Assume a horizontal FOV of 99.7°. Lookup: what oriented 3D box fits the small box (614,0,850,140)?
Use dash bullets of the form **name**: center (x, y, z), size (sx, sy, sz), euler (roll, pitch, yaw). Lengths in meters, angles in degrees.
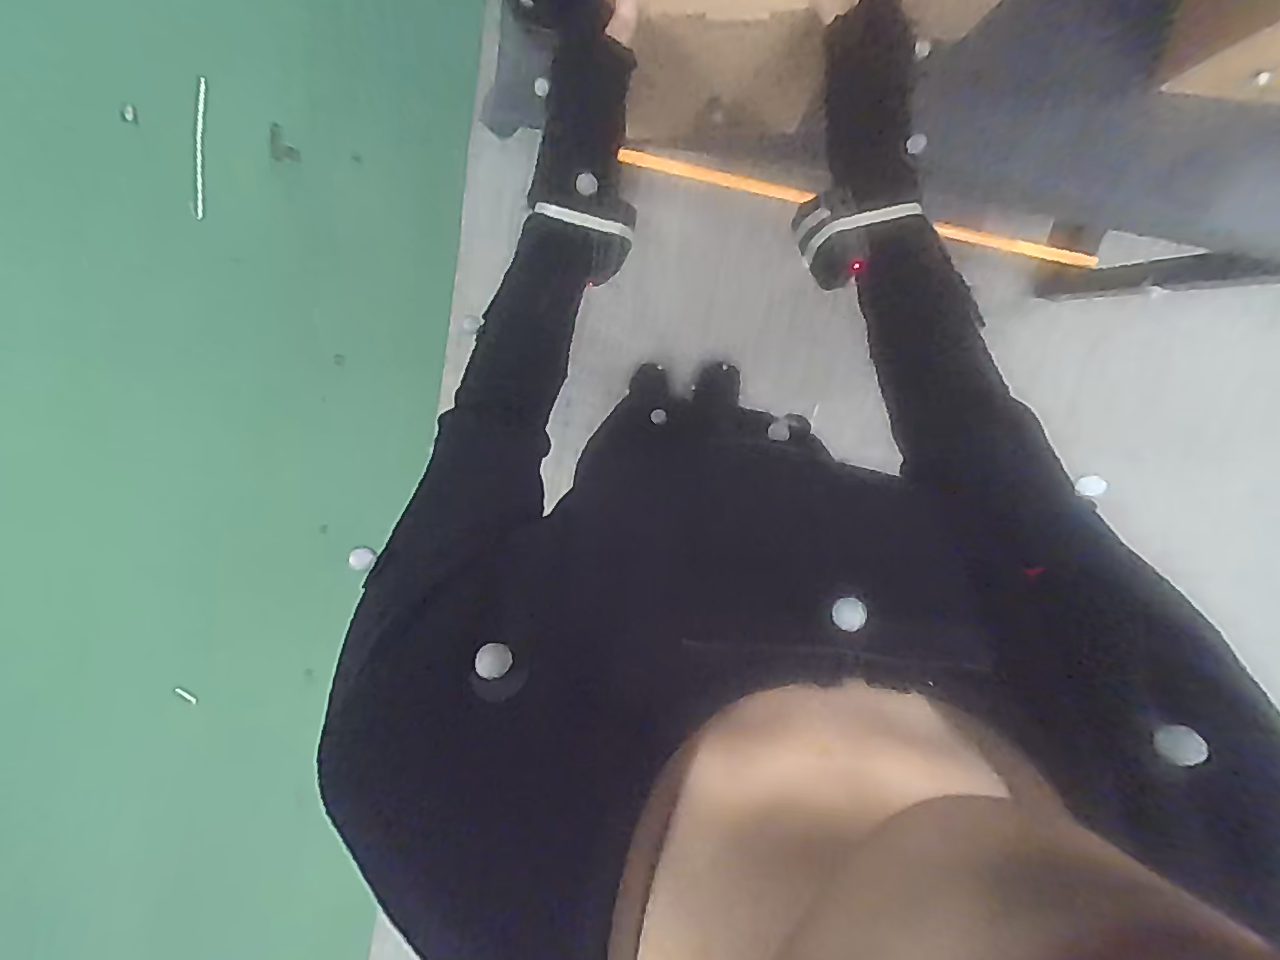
- **small box**: center (0.064, -0.414, 0.443), size (0.168, 0.176, 0.179), euler (-1, 97, 1)
